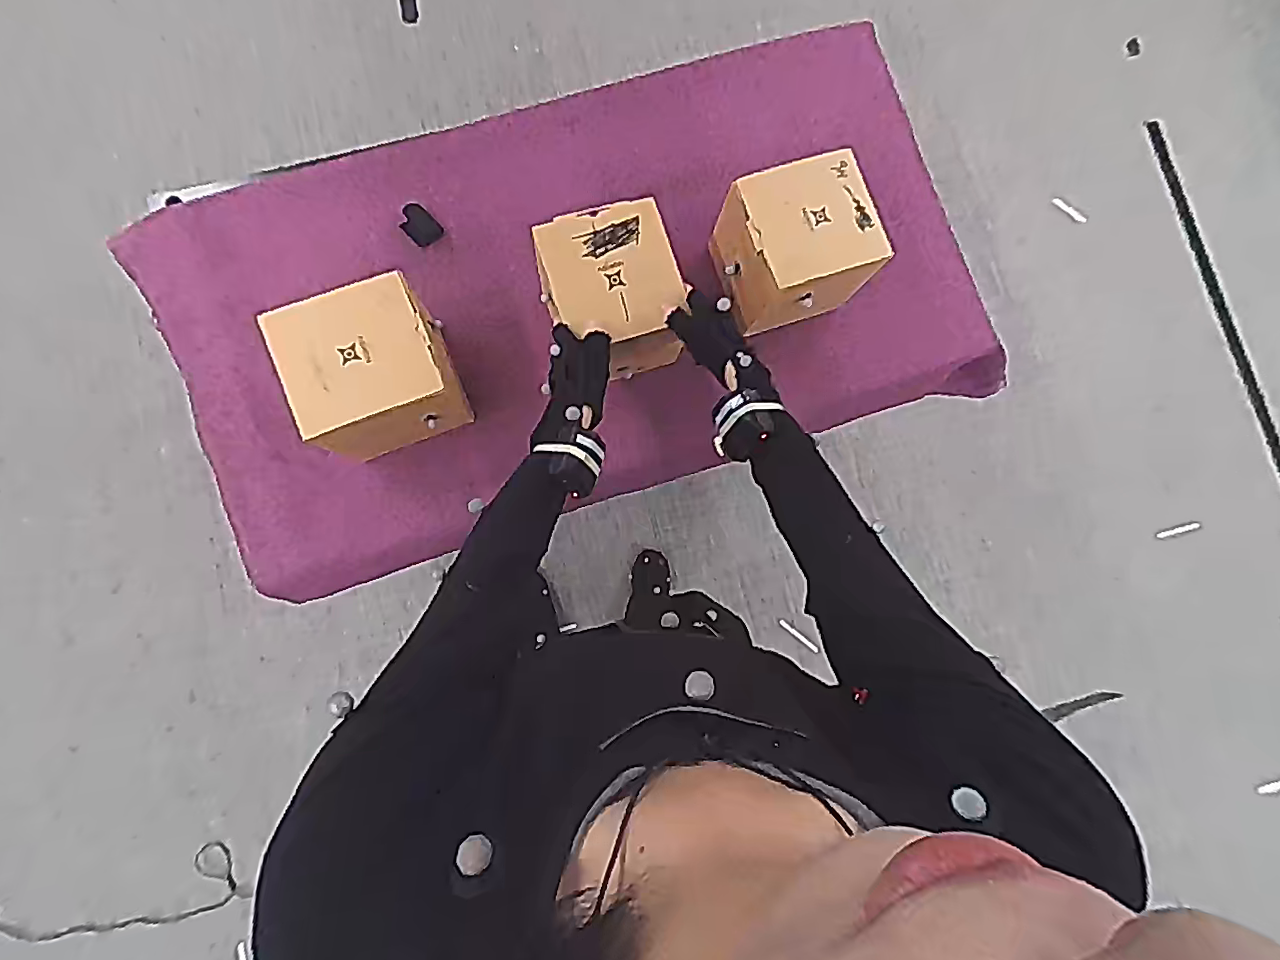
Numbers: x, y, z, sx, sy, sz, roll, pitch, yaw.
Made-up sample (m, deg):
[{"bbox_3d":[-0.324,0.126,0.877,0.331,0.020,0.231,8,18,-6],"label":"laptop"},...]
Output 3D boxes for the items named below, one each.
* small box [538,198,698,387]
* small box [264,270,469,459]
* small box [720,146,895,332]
[{"bbox_3d":[-0.036,-0.253,0.763,0.168,0.176,0.179,-18,85,-7],"label":"small box"},{"bbox_3d":[-0.344,-0.142,0.723,0.179,0.176,0.168,-23,84,-7],"label":"small box"},{"bbox_3d":[0.229,-0.341,0.798,0.179,0.176,0.168,-19,85,-6],"label":"small box"}]
